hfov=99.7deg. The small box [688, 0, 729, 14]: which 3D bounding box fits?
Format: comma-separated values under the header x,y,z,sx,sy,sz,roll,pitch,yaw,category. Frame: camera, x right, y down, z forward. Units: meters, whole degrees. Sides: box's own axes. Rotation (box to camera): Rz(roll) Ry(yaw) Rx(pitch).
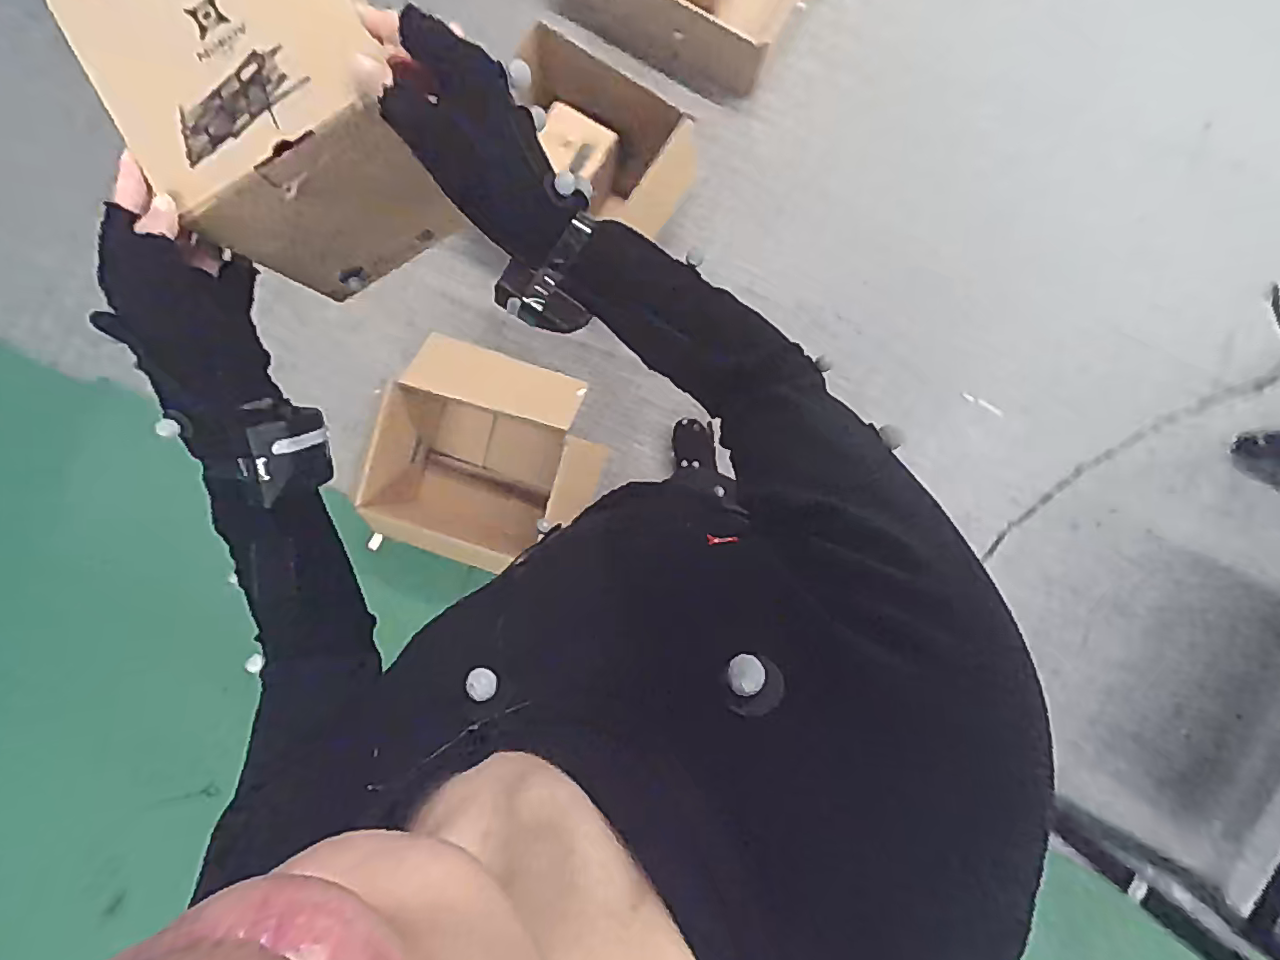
x,y,z,sx,sy,sz,roll,pitch,yaw,category
0.172,-1.348,1.370,0.179,0.176,0.168,30,89,2,small box
